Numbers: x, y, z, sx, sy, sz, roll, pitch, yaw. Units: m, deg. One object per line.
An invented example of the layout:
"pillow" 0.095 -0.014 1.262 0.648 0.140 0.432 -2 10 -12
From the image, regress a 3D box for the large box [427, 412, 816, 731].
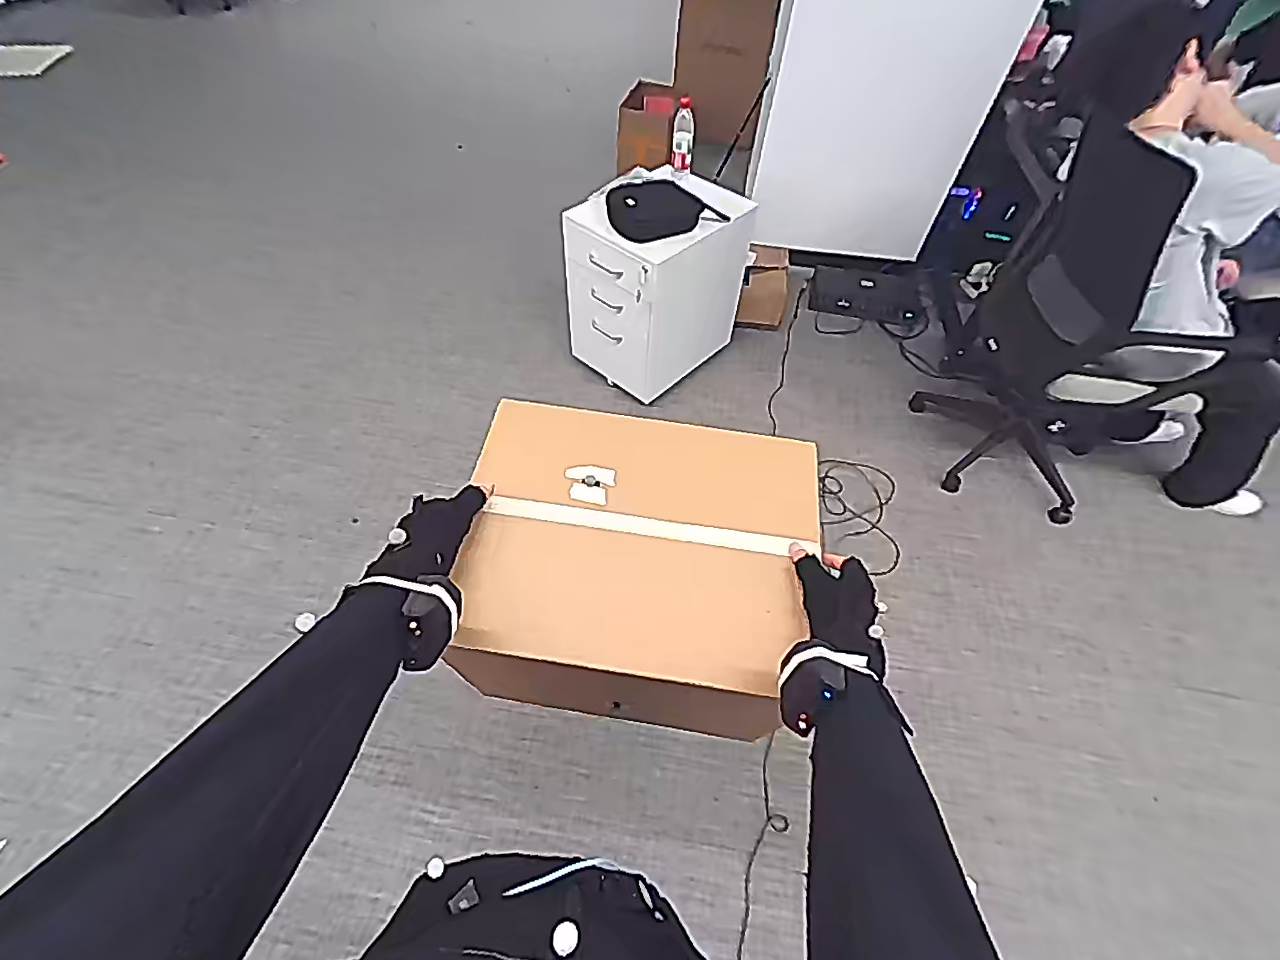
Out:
"large box" -0.005 0.140 0.744 0.408 0.320 0.320 8 58 3
